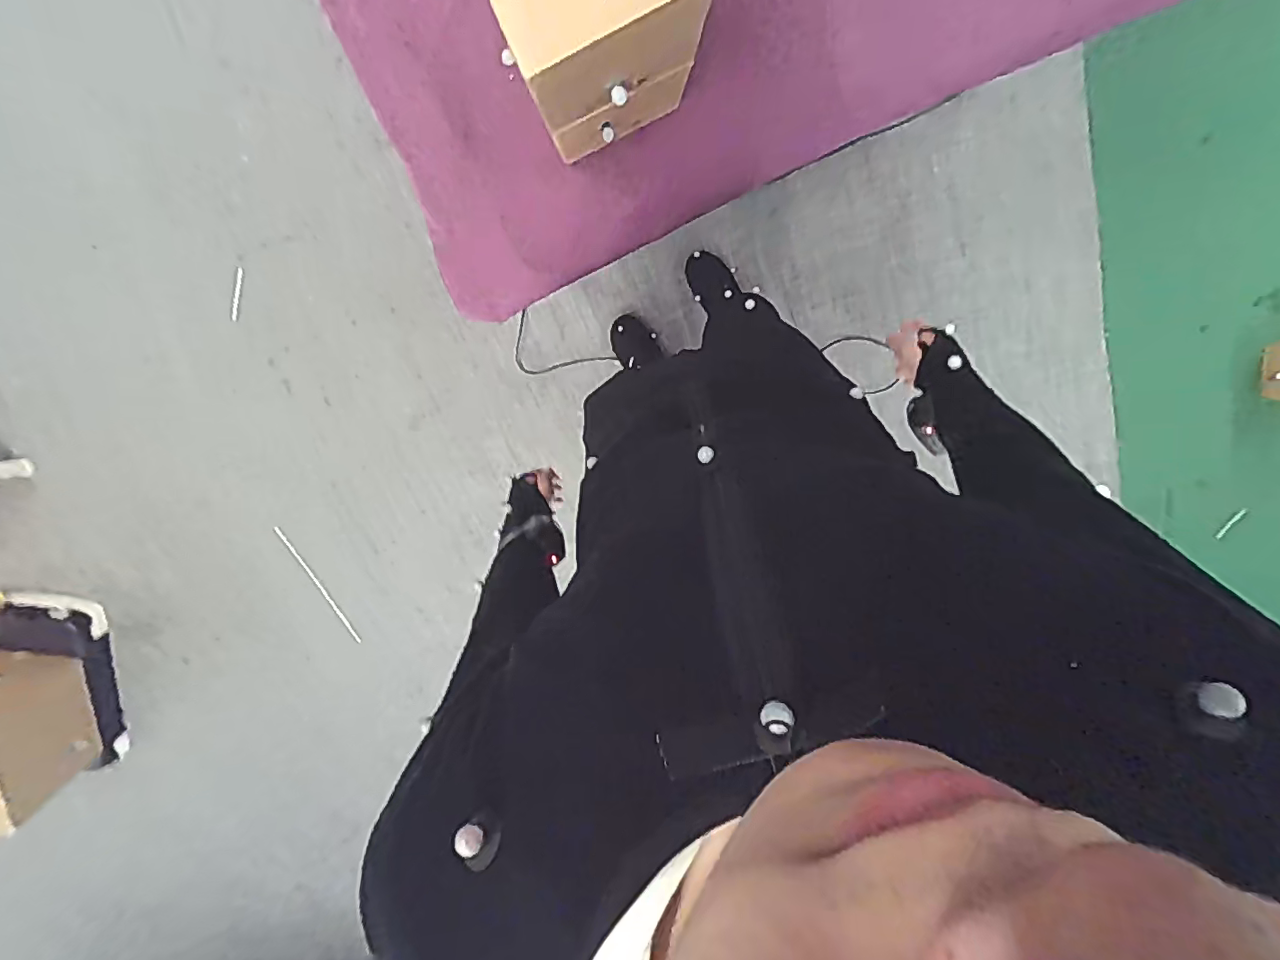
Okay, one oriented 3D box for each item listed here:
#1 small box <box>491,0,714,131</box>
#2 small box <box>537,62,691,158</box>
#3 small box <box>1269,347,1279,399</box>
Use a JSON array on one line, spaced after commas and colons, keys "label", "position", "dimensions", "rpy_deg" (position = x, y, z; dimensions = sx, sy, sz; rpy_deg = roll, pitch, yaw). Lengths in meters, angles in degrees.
[{"label": "small box", "position": [-0.050, -0.443, 0.463], "dimensions": [0.168, 0.176, 0.179], "rpy_deg": [-23, 109, 8]}, {"label": "small box", "position": [-0.053, -0.497, 0.617], "dimensions": [0.168, 0.176, 0.179], "rpy_deg": [-23, 108, 7]}, {"label": "small box", "position": [1.922, -0.310, 1.489], "dimensions": [0.179, 0.176, 0.168], "rpy_deg": [-19, 110, 6]}]
